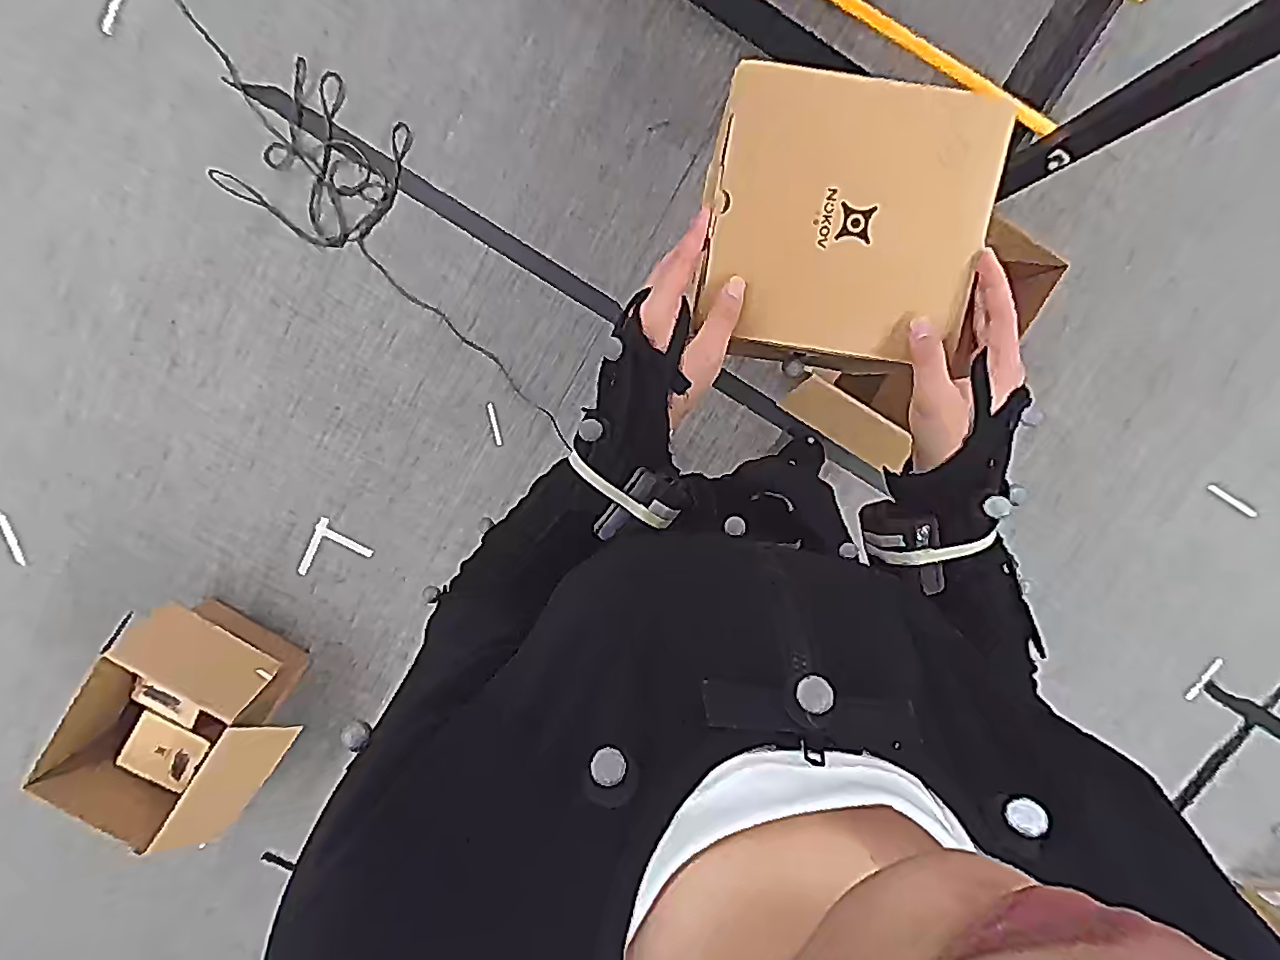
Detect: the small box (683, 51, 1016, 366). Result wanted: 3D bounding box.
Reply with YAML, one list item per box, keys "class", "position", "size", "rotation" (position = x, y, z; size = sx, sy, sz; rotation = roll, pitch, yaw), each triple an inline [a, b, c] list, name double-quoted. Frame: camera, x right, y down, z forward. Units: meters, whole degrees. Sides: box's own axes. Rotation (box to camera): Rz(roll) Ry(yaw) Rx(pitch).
- class: "small box"
  position: [0.135, -0.184, 0.422]
  size: [0.179, 0.176, 0.168]
  rotation: [9, 101, 1]
